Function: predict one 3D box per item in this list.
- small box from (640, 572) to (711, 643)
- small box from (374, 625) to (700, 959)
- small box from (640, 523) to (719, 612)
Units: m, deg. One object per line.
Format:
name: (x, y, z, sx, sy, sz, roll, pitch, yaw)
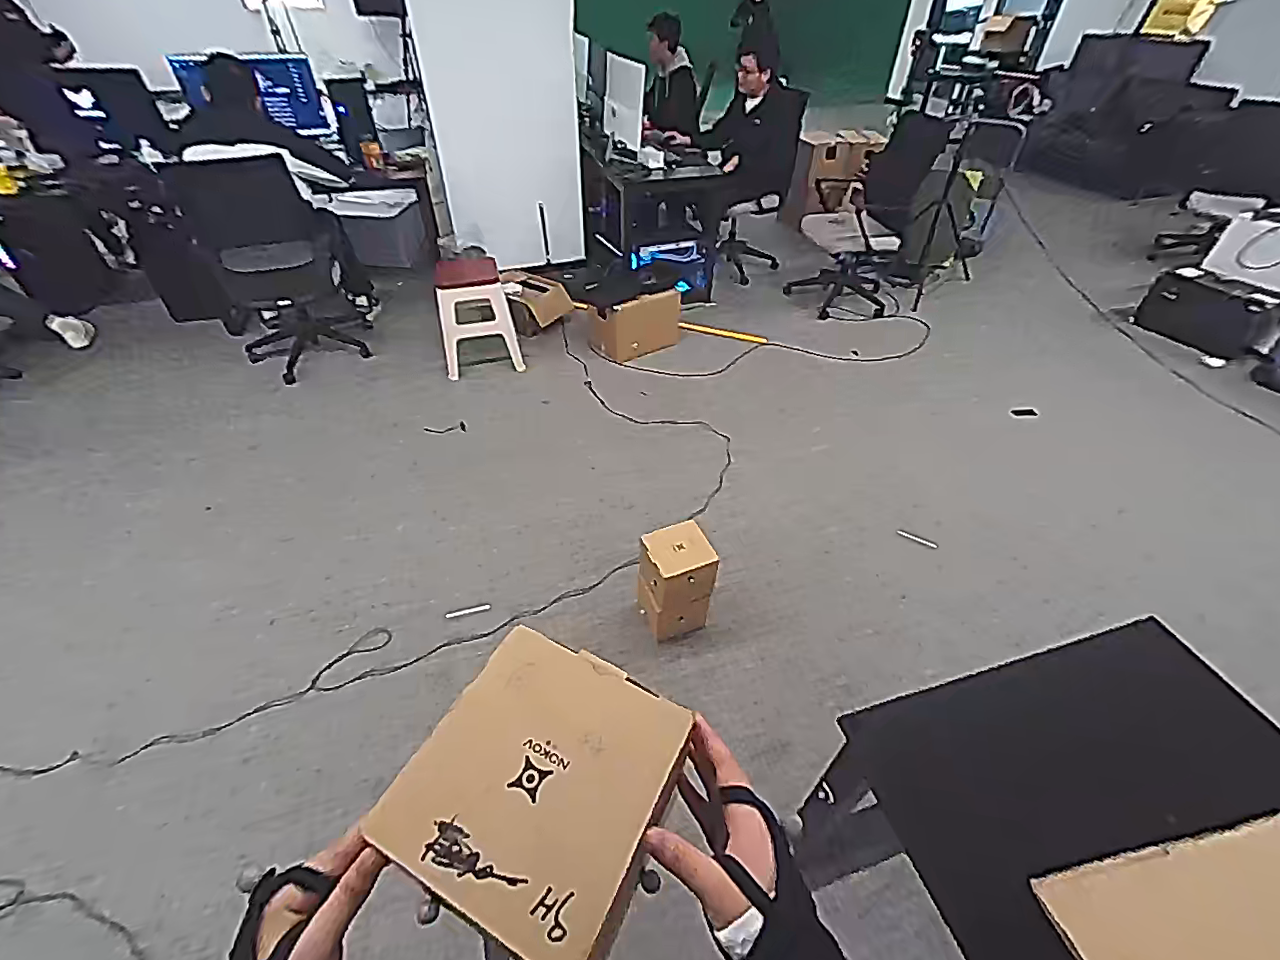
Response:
small box: (0.104, 0.381, 1.697, 0.179, 0.176, 0.168, -15, 45, -15)
small box: (-0.067, 0.259, 0.433, 0.168, 0.176, 0.179, 20, 45, 20)
small box: (0.111, 0.259, 1.590, 0.179, 0.176, 0.168, -16, 46, -19)
